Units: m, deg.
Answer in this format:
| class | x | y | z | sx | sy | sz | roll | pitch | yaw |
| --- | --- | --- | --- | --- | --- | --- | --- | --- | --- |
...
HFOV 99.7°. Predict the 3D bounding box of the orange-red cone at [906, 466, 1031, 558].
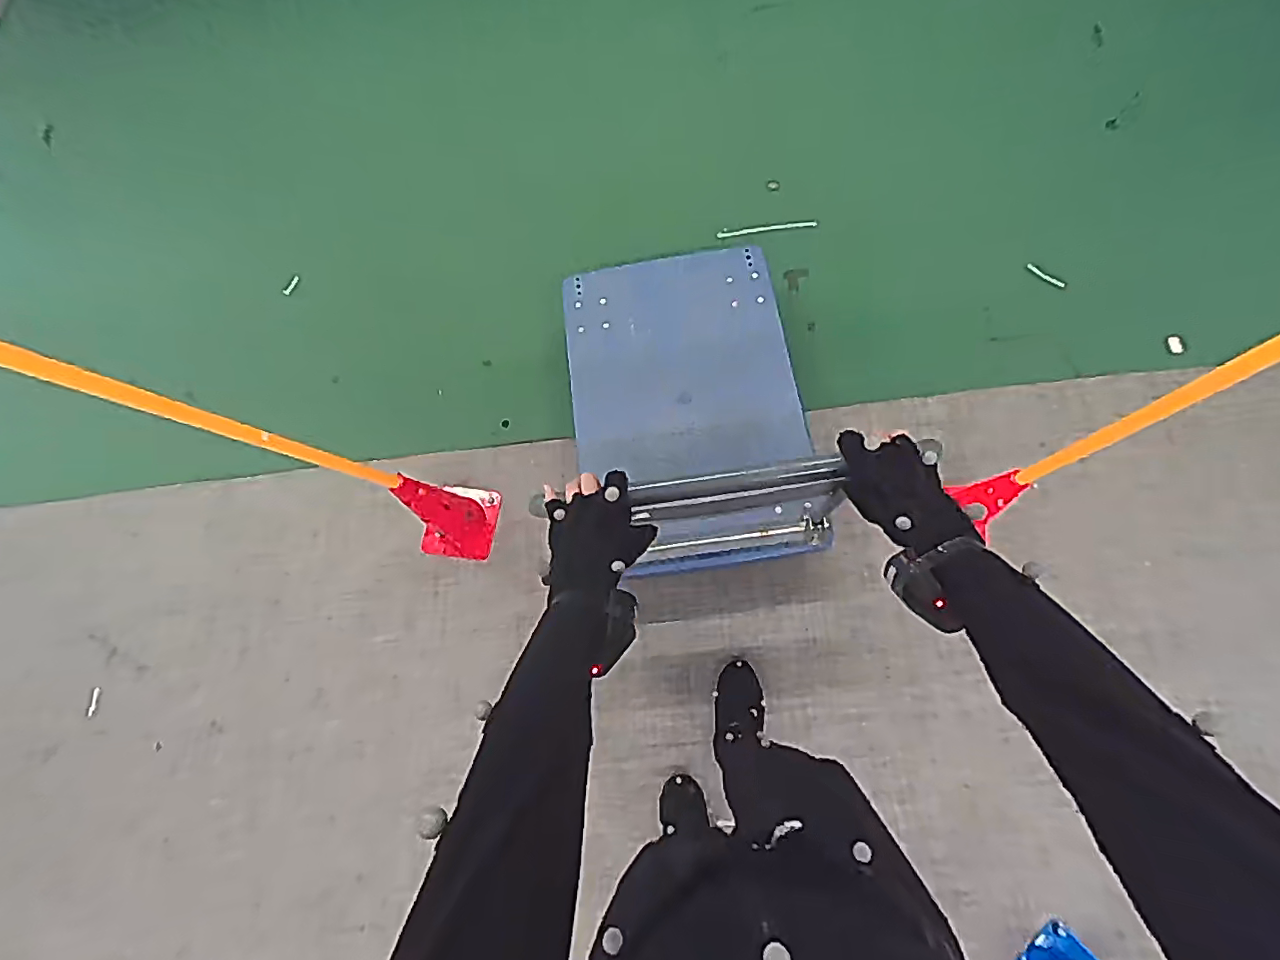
| class | x | y | z | sx | sy | sz | roll | pitch | yaw |
| --- | --- | --- | --- | --- | --- | --- | --- | --- | --- |
| orange-red cone | 0.764 | 0.044 | 1.217 | 0.198 | 0.360 | 0.199 | 4 | 73 | 9 |
